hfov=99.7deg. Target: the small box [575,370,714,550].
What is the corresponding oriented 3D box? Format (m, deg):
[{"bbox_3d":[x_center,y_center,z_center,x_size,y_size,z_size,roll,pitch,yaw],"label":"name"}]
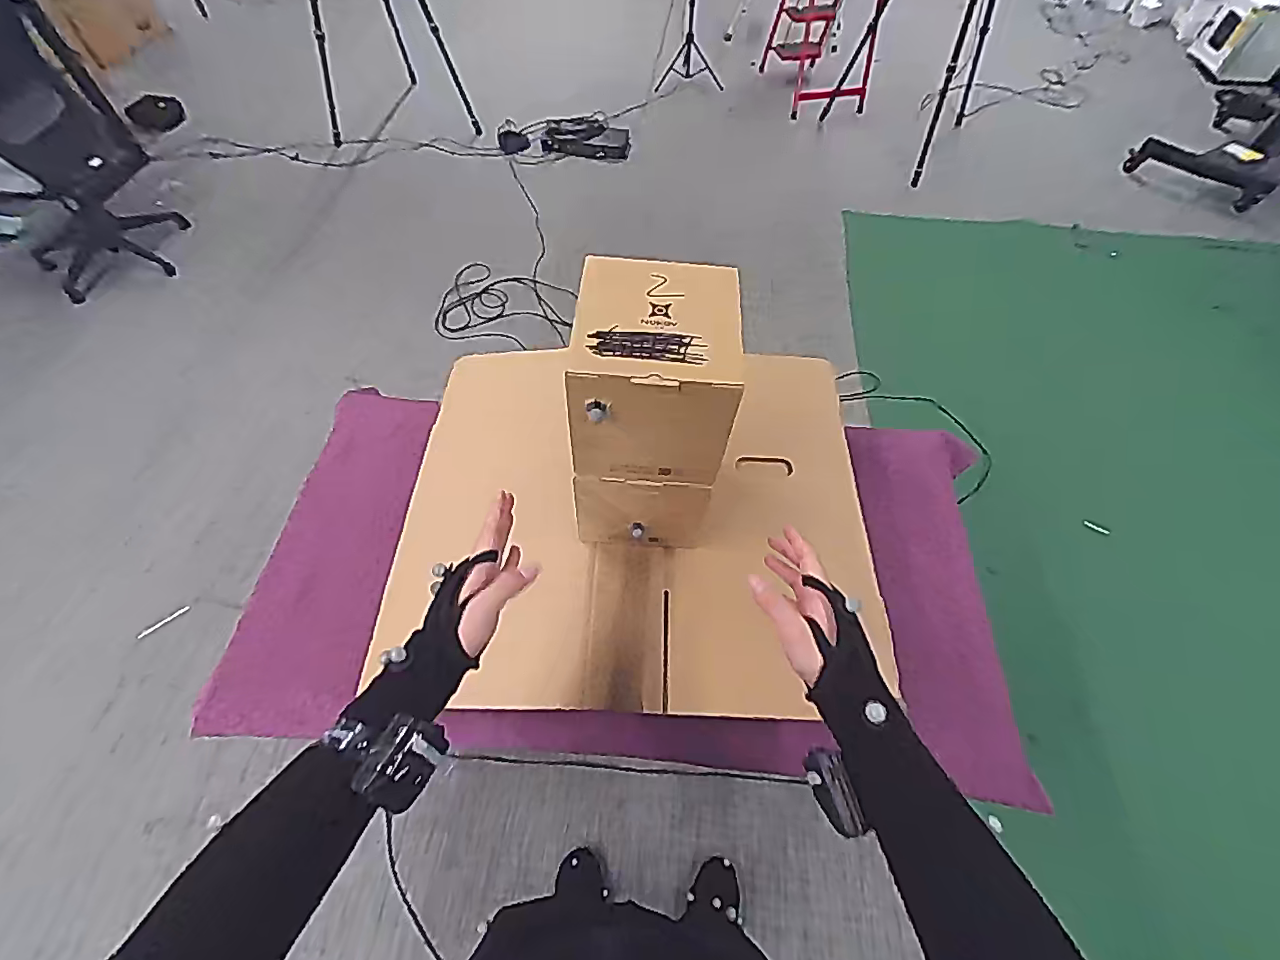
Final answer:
[{"bbox_3d":[0.006,-0.023,0.736,0.168,0.176,0.179,4,58,-1],"label":"small box"}]
